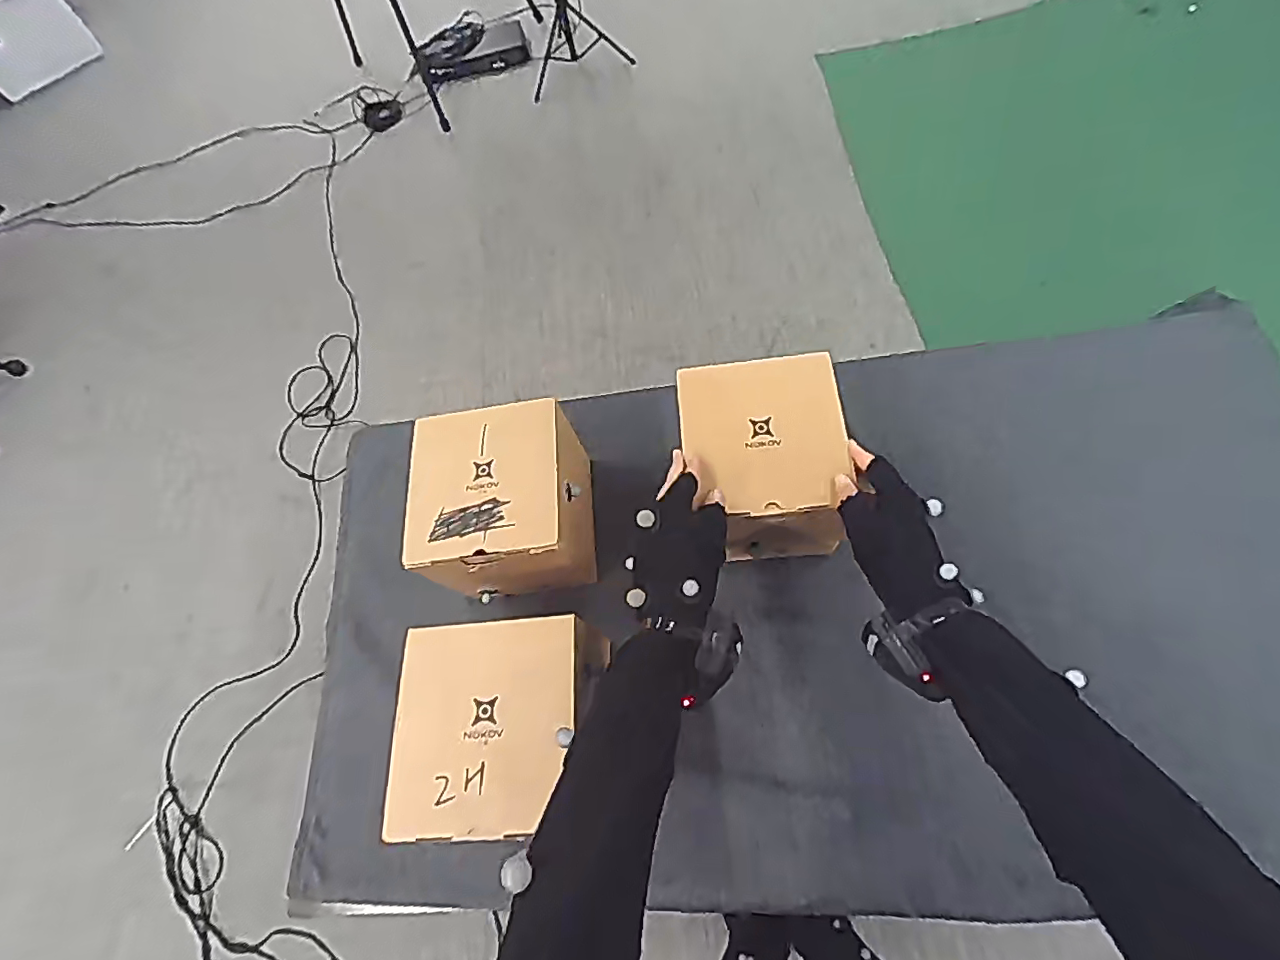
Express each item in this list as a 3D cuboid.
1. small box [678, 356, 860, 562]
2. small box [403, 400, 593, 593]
[{"bbox_3d":[0.134,-0.015,0.621,0.168,0.176,0.179,-6,67,6],"label":"small box"},{"bbox_3d":[-0.154,0.032,0.642,0.168,0.176,0.179,-8,66,5],"label":"small box"}]
